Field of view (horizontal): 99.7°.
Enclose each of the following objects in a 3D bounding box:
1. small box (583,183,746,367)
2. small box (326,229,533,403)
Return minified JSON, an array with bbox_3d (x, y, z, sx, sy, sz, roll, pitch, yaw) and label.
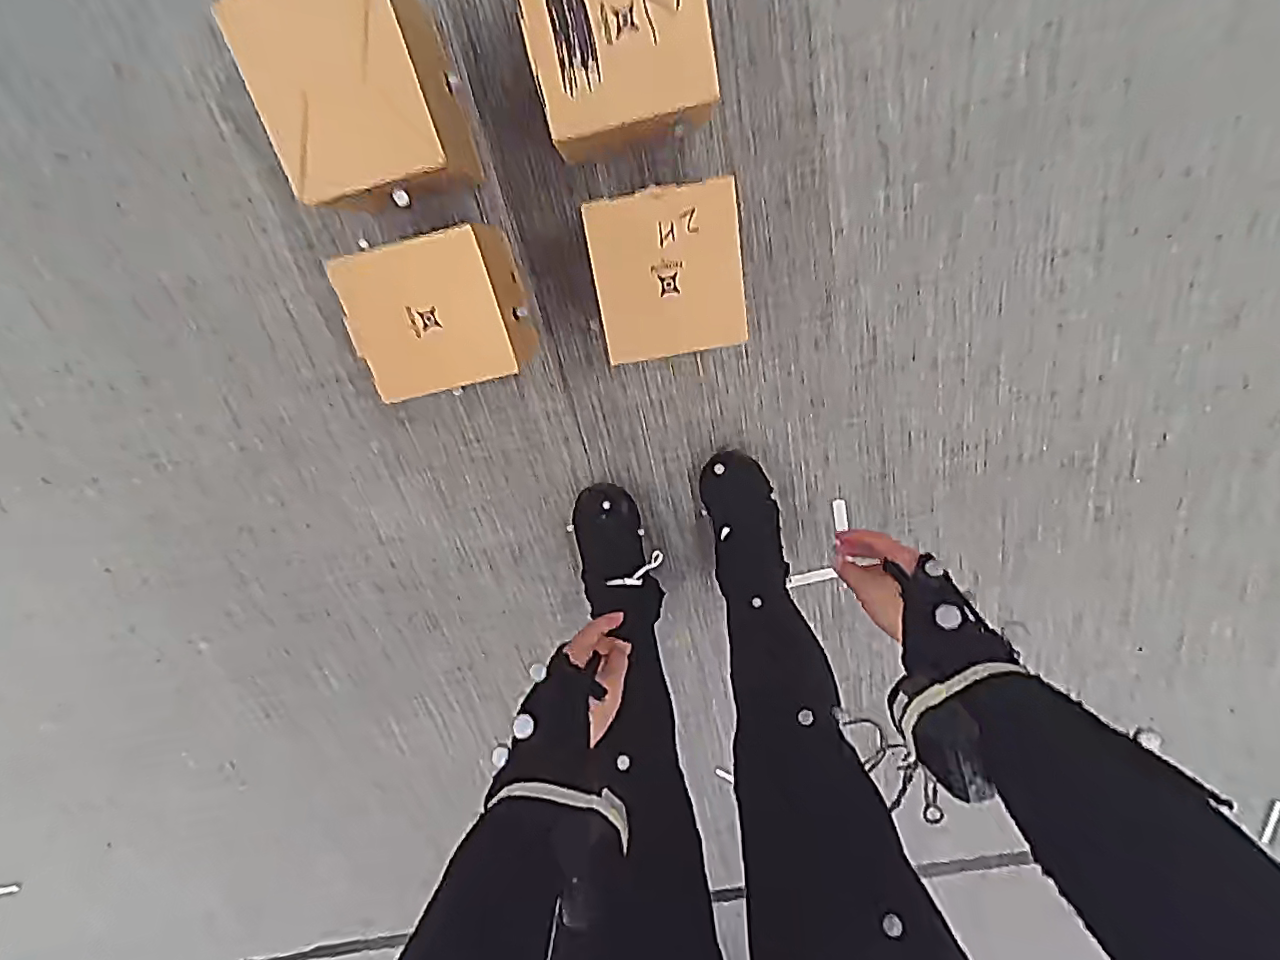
[{"bbox_3d":[0.030,-0.254,0.671,0.168,0.176,0.179,-9,114,2],"label":"small box"},{"bbox_3d":[-0.244,-0.214,0.687,0.179,0.176,0.168,-12,113,5],"label":"small box"}]
